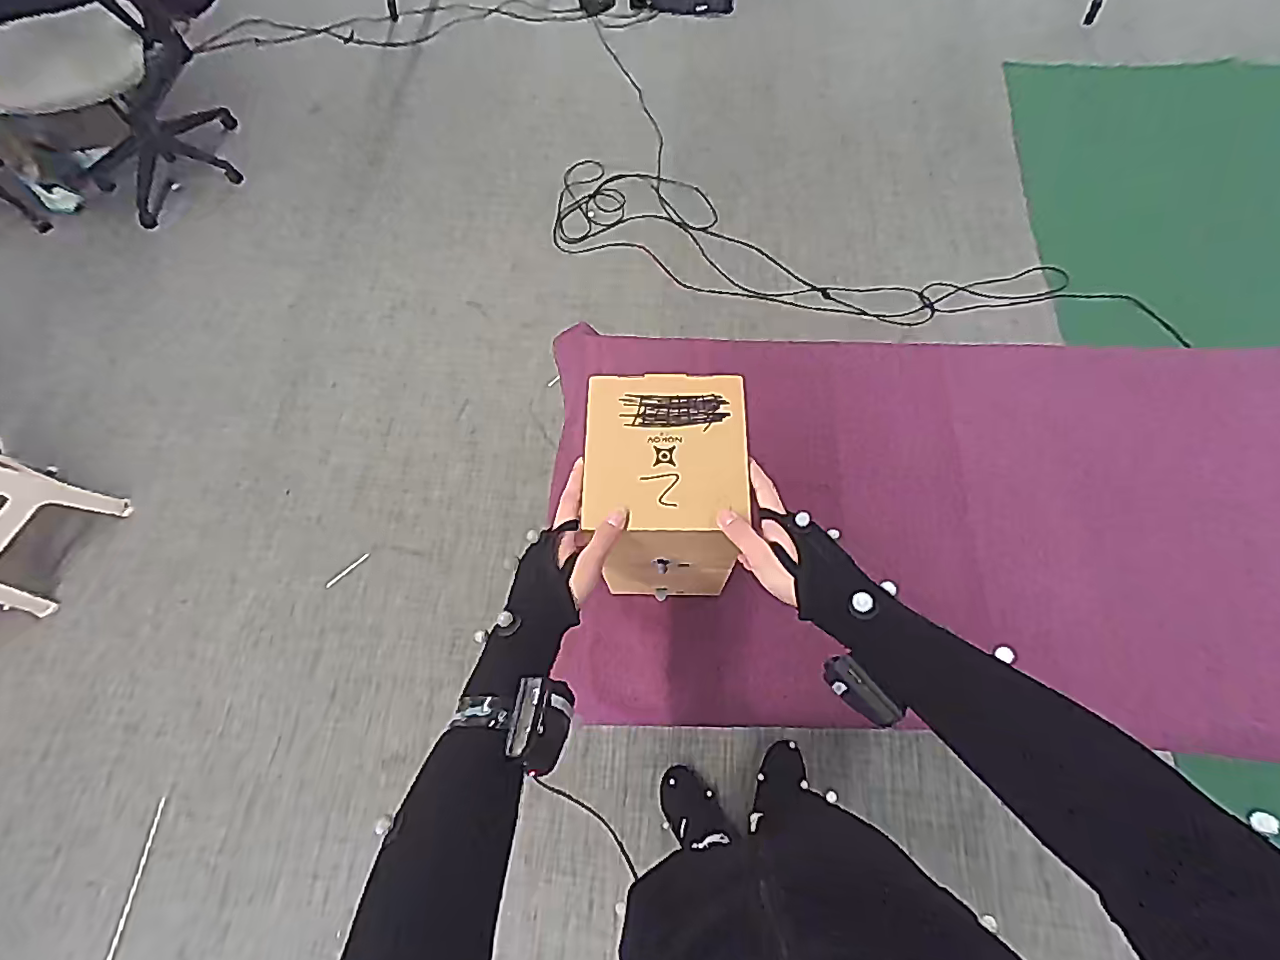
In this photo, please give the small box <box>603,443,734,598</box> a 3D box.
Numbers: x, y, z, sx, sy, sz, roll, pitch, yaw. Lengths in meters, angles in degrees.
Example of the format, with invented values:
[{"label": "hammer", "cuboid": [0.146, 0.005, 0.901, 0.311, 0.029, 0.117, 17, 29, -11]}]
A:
[{"label": "small box", "cuboid": [0.040, 0.062, 0.770, 0.168, 0.176, 0.179, 1, 68, 3]}]
